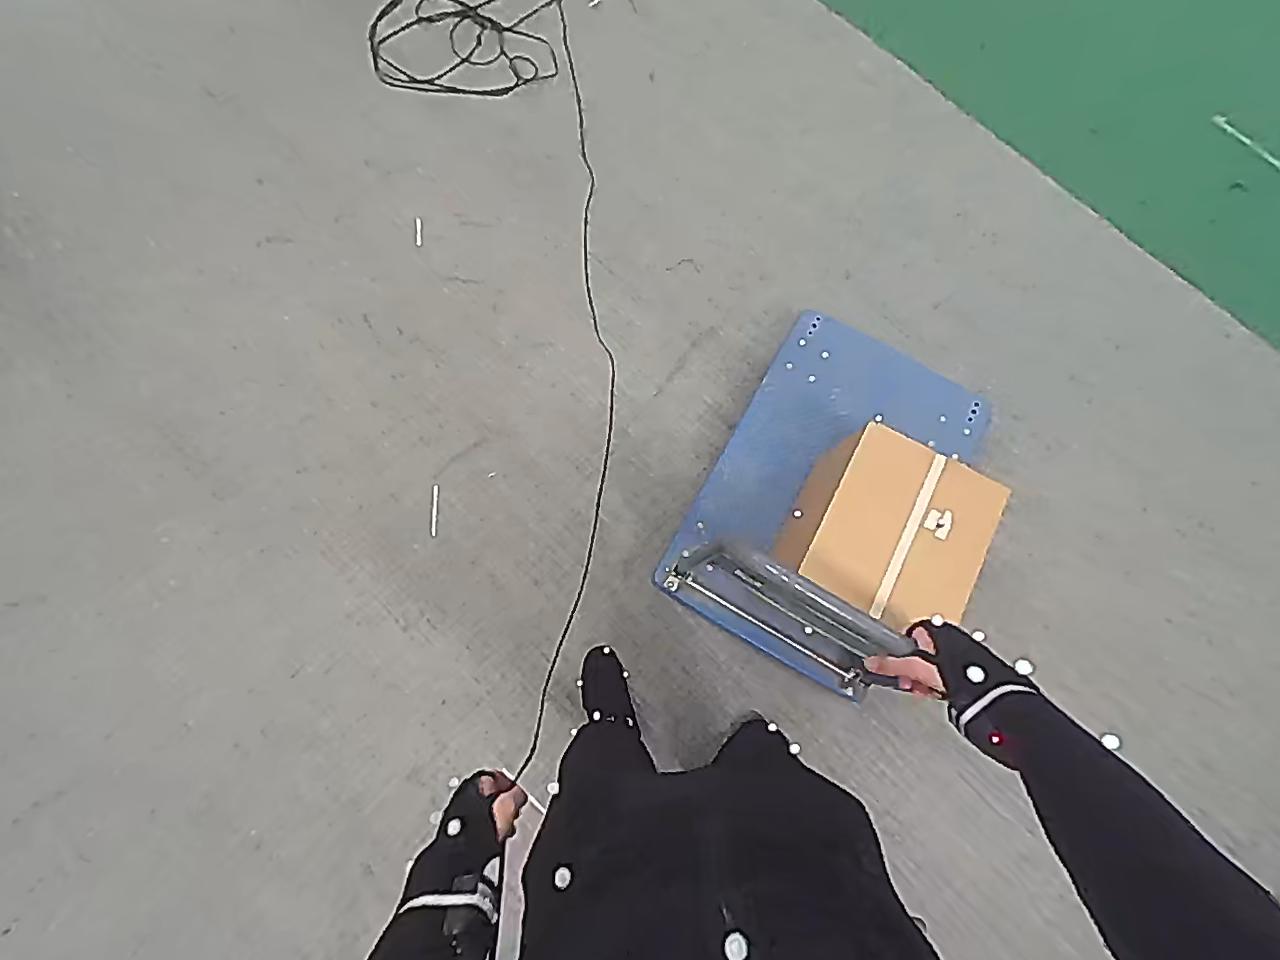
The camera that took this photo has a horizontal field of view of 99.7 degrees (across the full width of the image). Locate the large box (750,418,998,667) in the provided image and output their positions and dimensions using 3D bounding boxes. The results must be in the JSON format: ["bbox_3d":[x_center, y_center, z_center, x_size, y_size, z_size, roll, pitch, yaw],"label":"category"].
[{"bbox_3d":[0.490,0.146,1.196,0.320,0.320,0.408,29,77,3],"label":"large box"}]
